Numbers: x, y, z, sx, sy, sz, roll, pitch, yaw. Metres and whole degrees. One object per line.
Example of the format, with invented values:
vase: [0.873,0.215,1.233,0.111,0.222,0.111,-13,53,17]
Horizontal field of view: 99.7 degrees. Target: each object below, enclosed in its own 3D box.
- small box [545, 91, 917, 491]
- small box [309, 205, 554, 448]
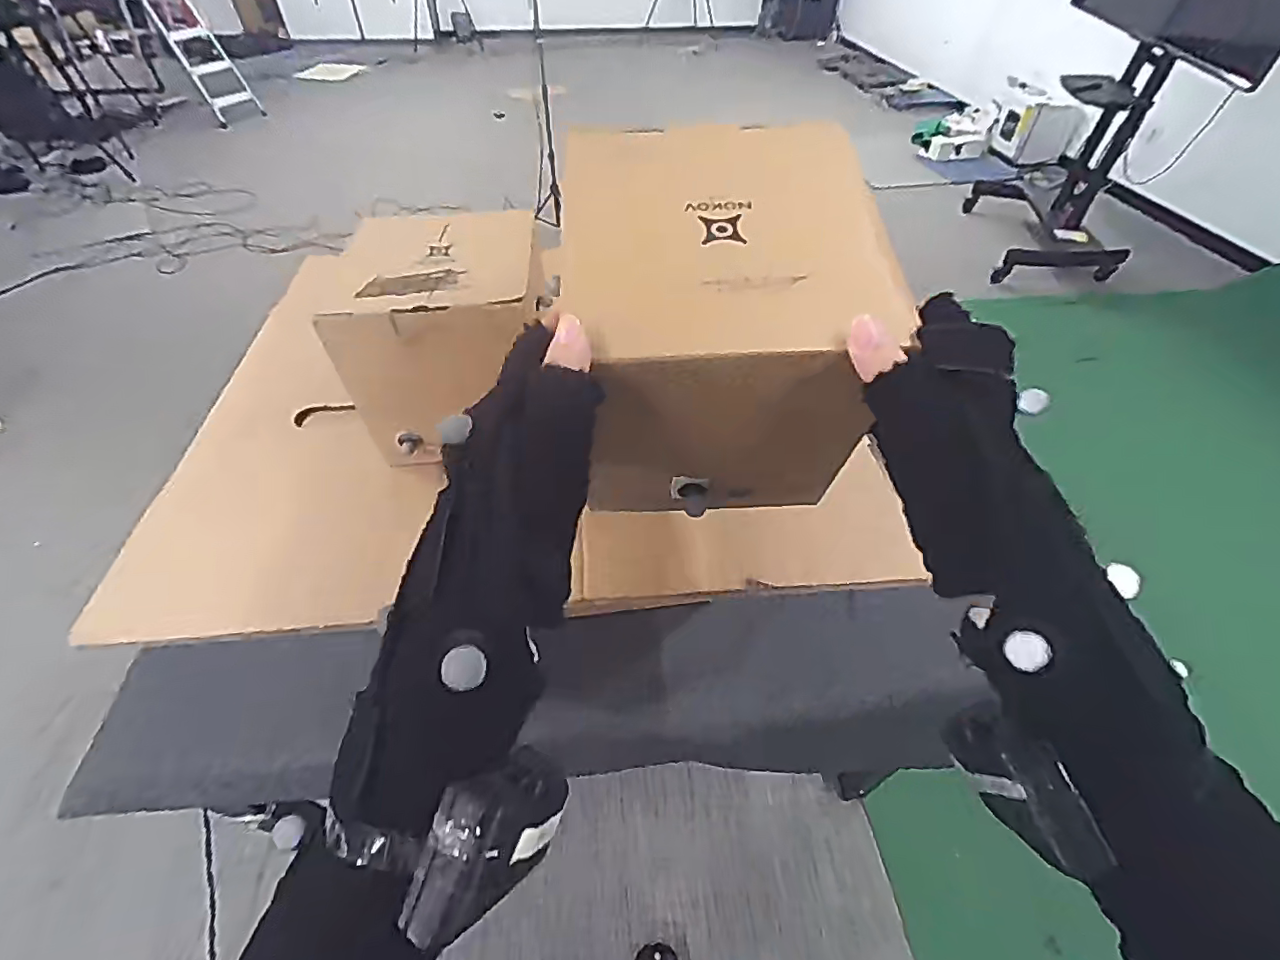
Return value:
small box: [0.036,-0.109,0.343,0.168,0.176,0.179,-3,63,-1]
small box: [-0.179,-0.143,0.531,0.168,0.176,0.179,-5,48,-2]
